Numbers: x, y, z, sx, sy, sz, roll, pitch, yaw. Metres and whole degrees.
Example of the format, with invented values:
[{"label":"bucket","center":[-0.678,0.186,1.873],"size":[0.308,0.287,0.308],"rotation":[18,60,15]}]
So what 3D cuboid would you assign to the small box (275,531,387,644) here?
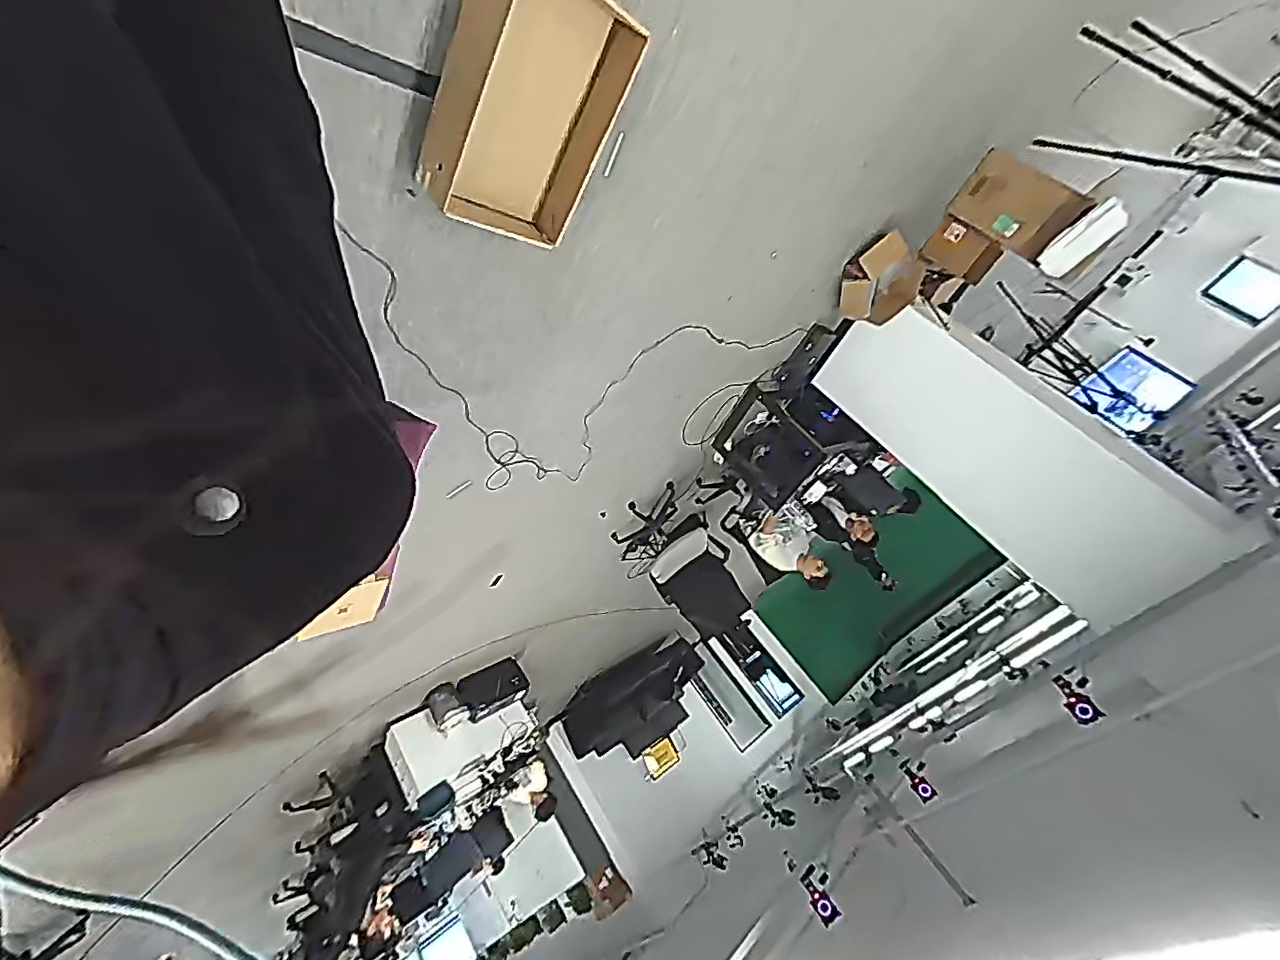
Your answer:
[{"label":"small box","center":[-0.704,0.232,1.226],"size":[0.168,0.176,0.179],"rotation":[-9,141,-48]}]
